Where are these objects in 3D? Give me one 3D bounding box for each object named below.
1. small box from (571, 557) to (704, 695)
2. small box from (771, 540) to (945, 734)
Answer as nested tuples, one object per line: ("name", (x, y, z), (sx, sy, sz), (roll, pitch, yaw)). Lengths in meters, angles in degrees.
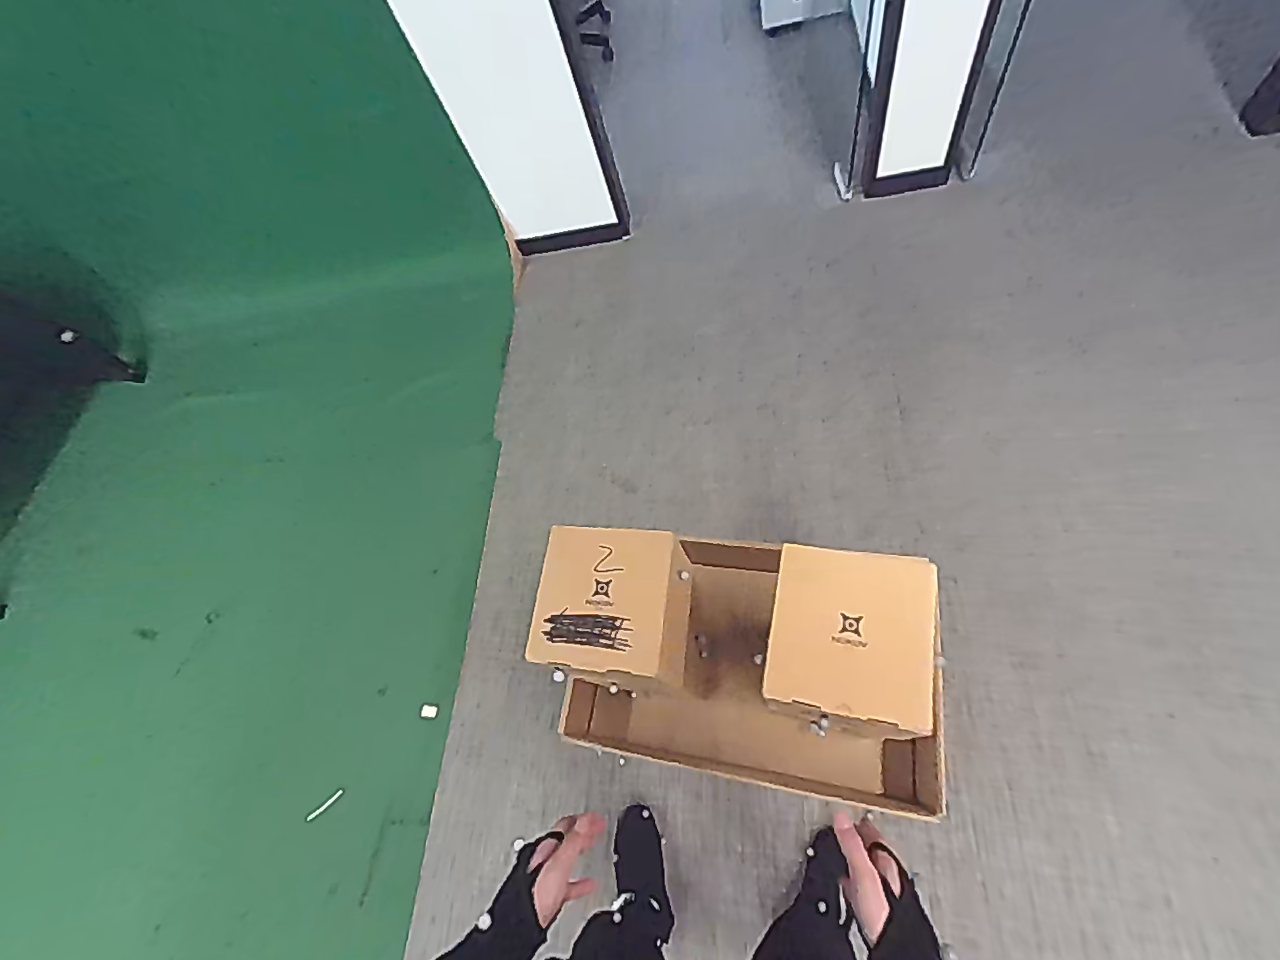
("small box", (0.007, 0.237, 0.867), (0.168, 0.176, 0.179), (1, 65, 16))
("small box", (0.251, 0.191, 0.645), (0.168, 0.176, 0.179), (7, 67, 18))
